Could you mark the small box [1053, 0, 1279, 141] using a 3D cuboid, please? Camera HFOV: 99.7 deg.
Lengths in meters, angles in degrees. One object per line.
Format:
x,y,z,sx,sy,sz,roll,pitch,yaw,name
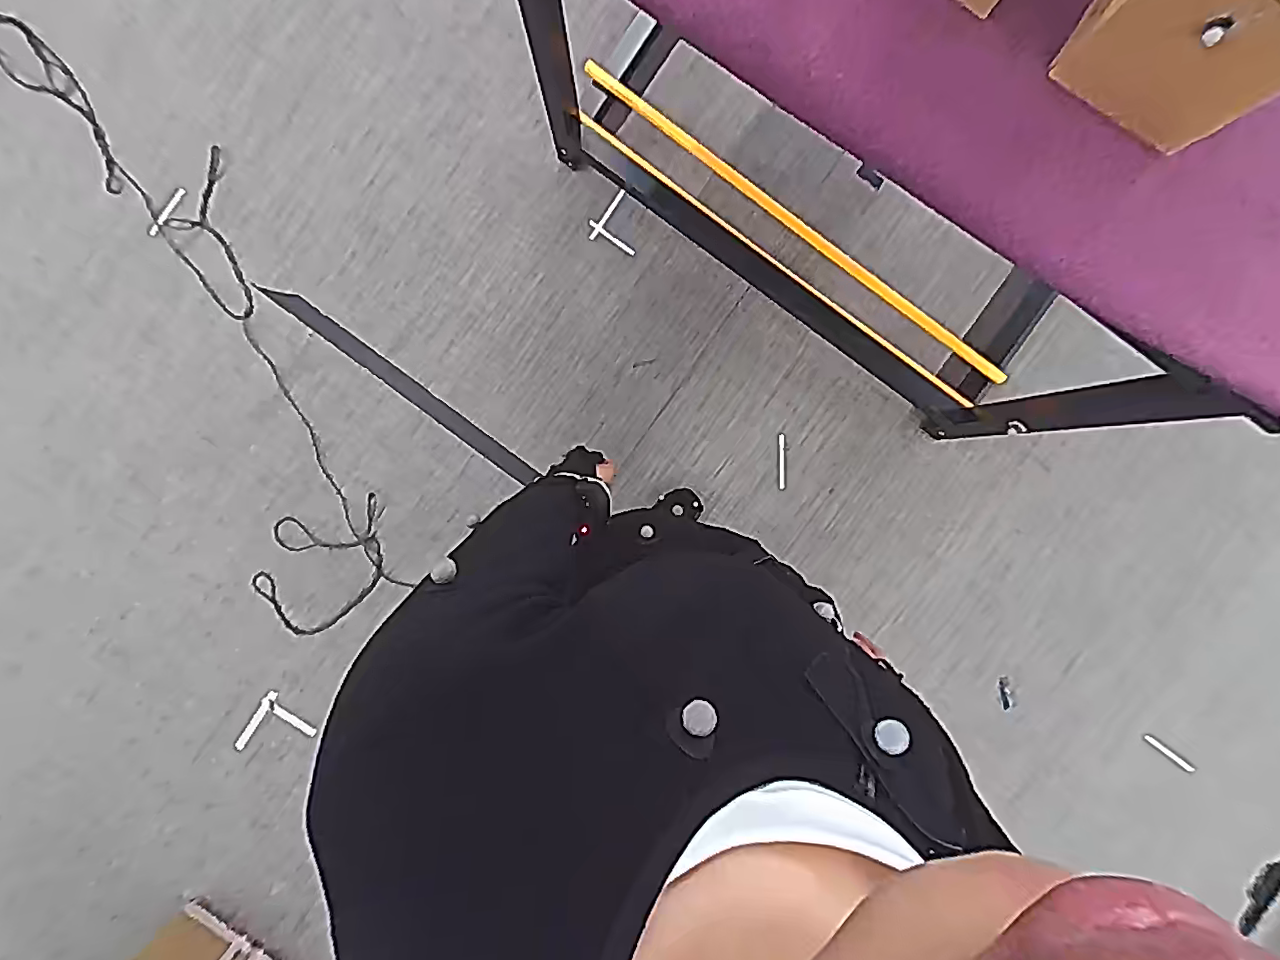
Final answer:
0.588,-0.489,0.546,0.179,0.176,0.168,33,91,-1,small box
